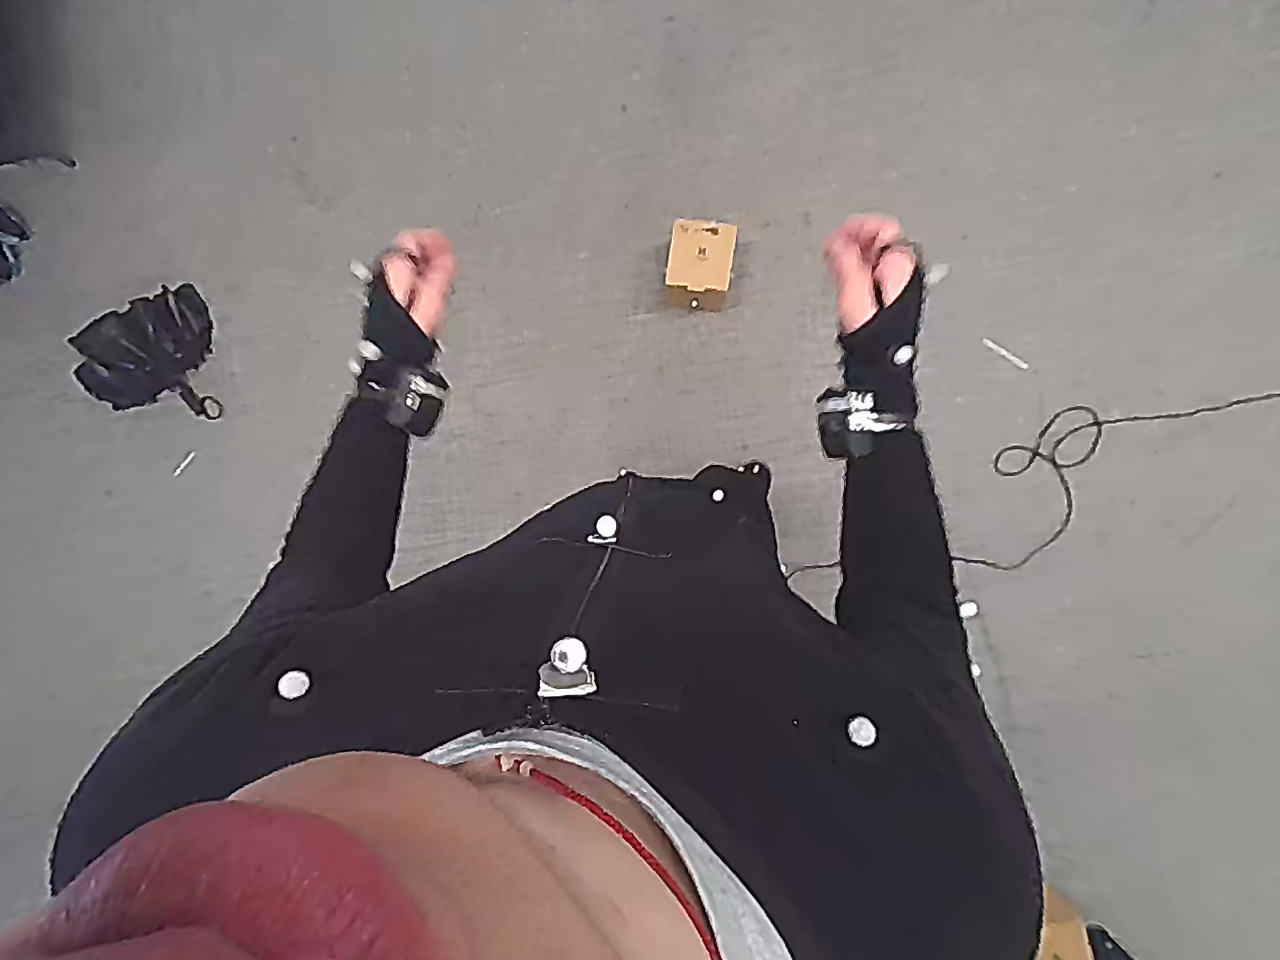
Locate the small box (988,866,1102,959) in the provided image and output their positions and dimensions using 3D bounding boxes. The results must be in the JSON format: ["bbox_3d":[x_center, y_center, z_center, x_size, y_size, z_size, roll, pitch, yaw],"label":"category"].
[{"bbox_3d":[1.036,1.145,1.390,0.168,0.176,0.179,-11,88,4],"label":"small box"}]

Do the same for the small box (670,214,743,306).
[{"bbox_3d":[0.176,-0.585,1.458,0.168,0.176,0.179,8,91,5],"label":"small box"}]
